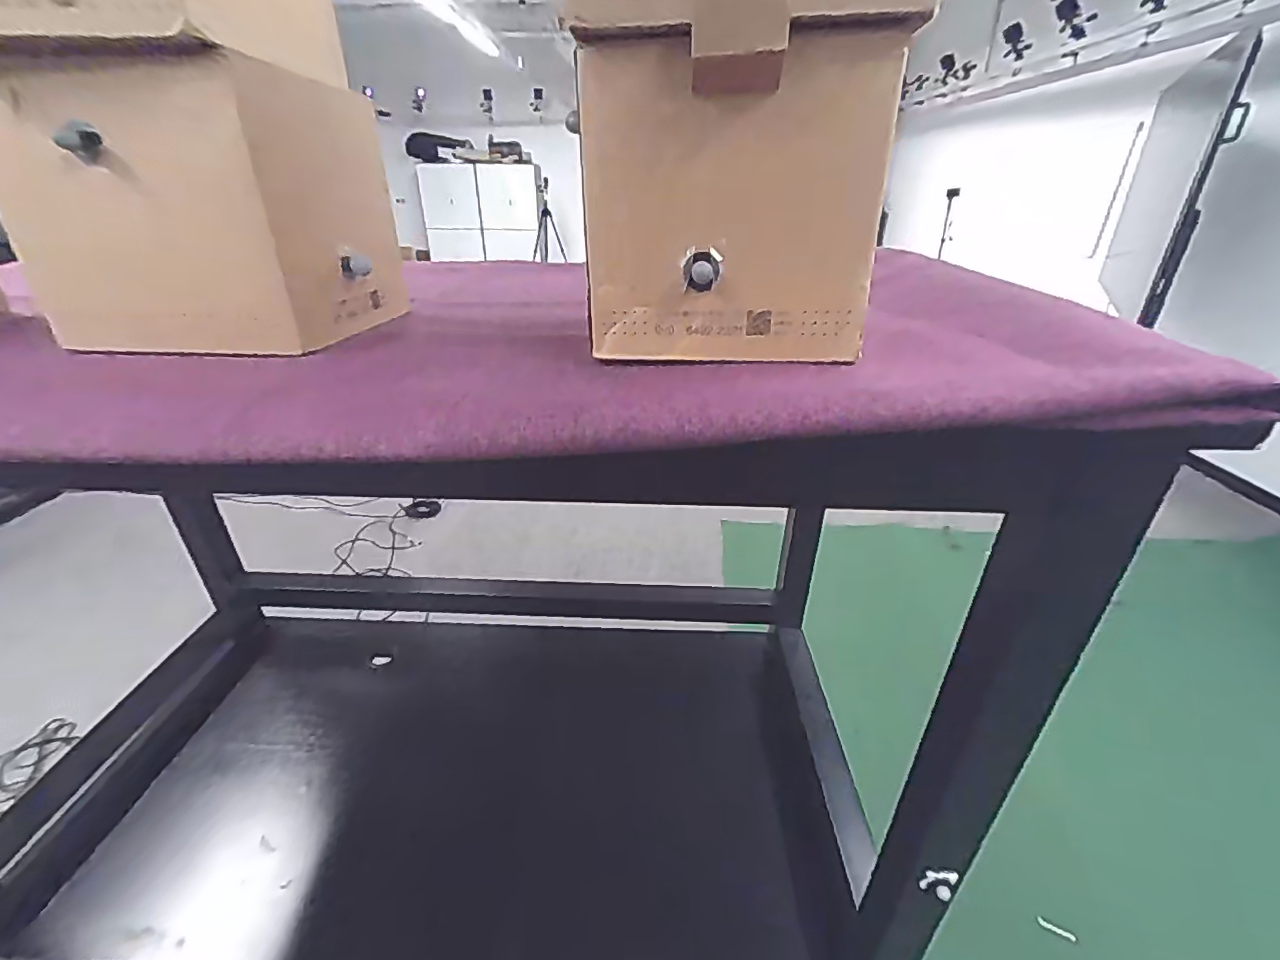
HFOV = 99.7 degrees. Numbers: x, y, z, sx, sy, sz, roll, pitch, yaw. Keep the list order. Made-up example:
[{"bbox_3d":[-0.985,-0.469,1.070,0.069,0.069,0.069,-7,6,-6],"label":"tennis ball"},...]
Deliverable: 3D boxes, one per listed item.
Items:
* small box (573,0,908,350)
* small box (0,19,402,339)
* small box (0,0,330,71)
[{"bbox_3d":[0.055,-0.193,0.371,0.168,0.176,0.179,1,27,5],"label":"small box"},{"bbox_3d":[-0.305,-0.202,0.394,0.179,0.176,0.168,2,28,3],"label":"small box"},{"bbox_3d":[-0.311,-0.343,0.309,0.168,0.176,0.179,-1,28,-2],"label":"small box"}]
